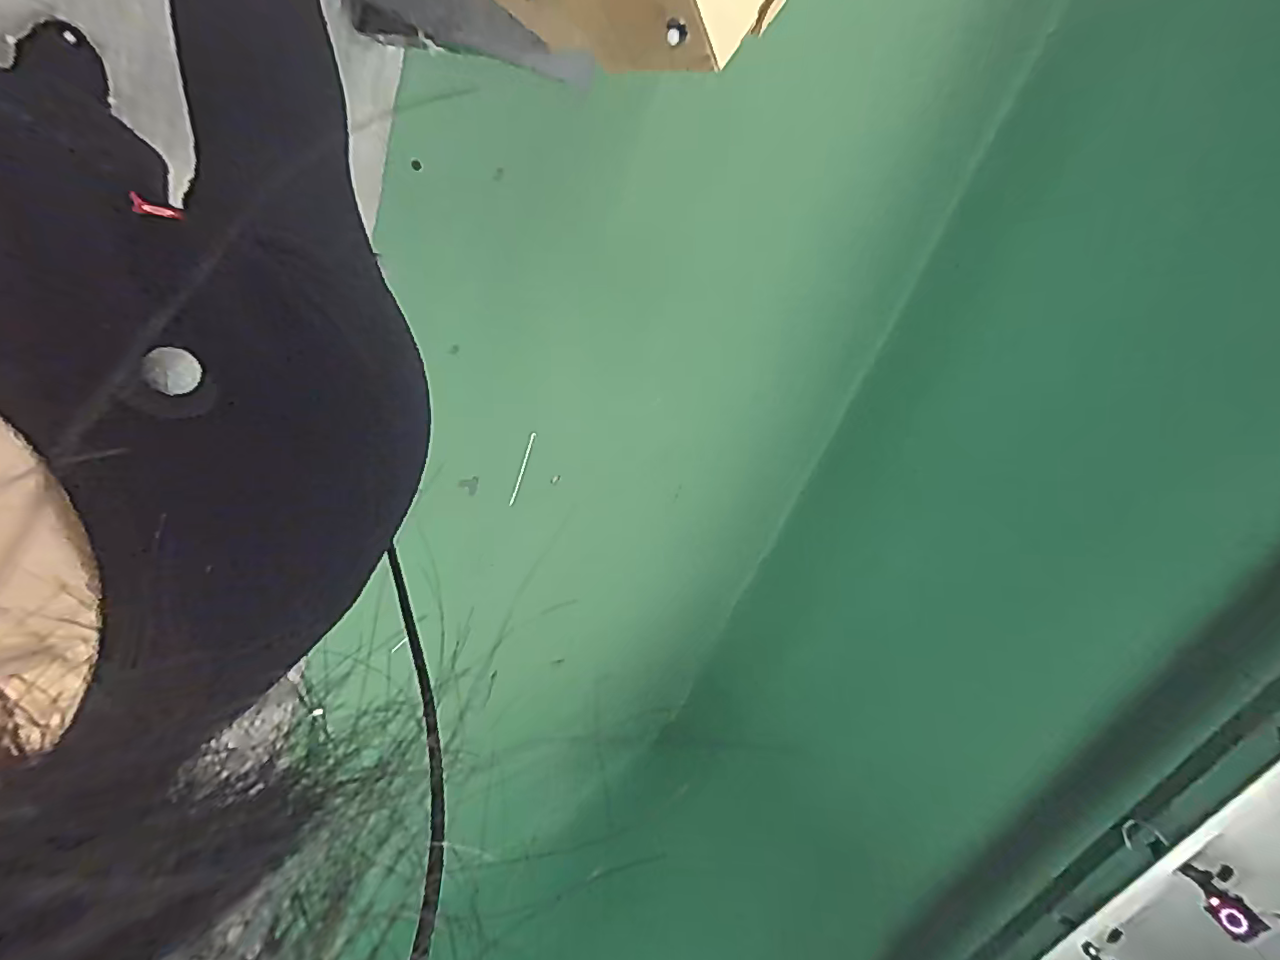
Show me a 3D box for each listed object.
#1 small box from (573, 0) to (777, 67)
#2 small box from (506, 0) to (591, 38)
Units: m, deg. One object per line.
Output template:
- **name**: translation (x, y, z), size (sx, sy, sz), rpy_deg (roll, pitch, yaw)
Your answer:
- **small box**: translation (0.027, -0.492, 0.456), size (0.168, 0.176, 0.179), rpy_deg (-54, 145, -1)
- **small box**: translation (-0.077, -0.584, 0.544), size (0.179, 0.176, 0.168), rpy_deg (4, 115, -49)
